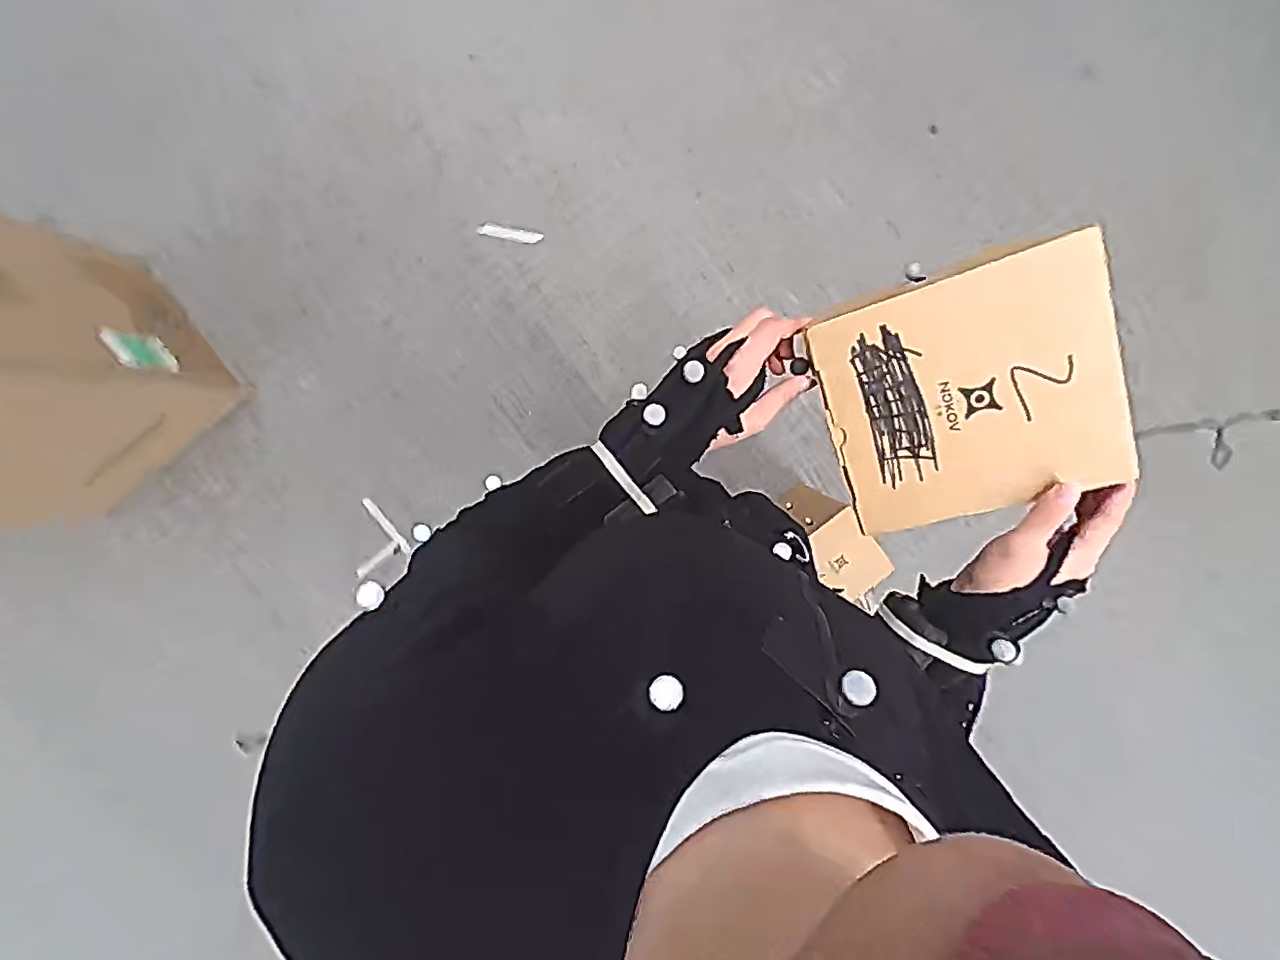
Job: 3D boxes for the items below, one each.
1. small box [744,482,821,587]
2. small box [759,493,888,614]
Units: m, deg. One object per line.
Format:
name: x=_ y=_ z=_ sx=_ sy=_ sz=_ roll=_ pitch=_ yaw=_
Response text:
small box: x=0.376 y=0.123 z=1.314 sx=0.179 sy=0.176 sz=0.168 roll=-35 pitch=96 yaw=5
small box: x=0.379 y=0.146 z=1.150 sx=0.179 sy=0.176 sz=0.168 roll=-37 pitch=96 yaw=4
